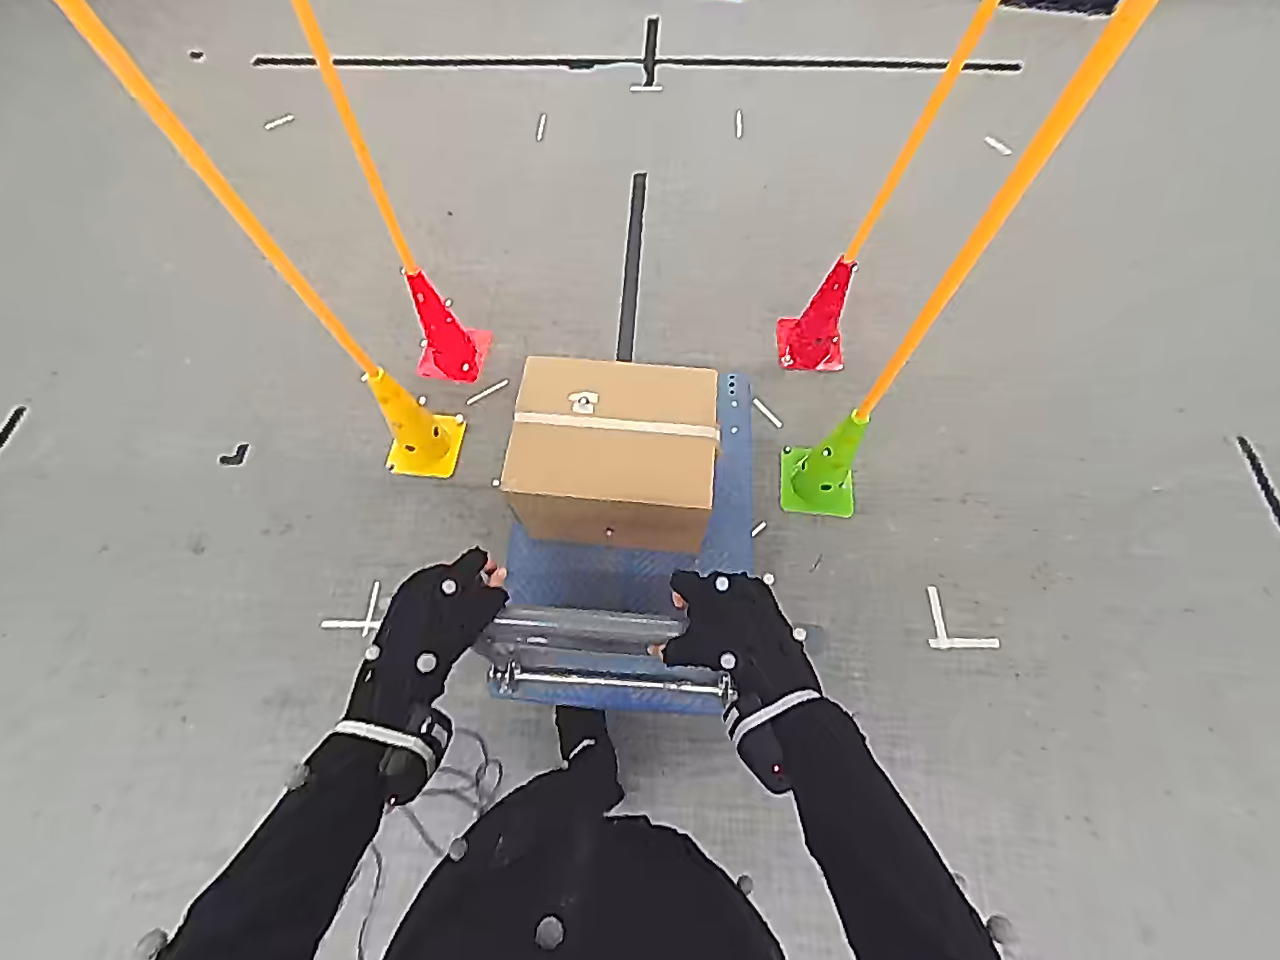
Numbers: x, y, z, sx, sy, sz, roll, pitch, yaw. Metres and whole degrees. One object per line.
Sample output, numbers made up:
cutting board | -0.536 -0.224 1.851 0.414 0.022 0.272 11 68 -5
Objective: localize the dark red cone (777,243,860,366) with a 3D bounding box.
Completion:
dark red cone | 0.542 -0.513 1.565 0.201 0.394 0.202 3 66 0

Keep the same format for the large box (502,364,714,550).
large box | -0.050 -0.038 1.220 0.408 0.320 0.320 5 66 4

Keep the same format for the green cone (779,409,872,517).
green cone | 0.498 -0.066 1.382 0.202 0.368 0.200 6 66 2

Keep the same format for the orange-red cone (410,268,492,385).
orange-red cone | -0.591 -0.471 1.582 0.198 0.360 0.199 10 65 4
